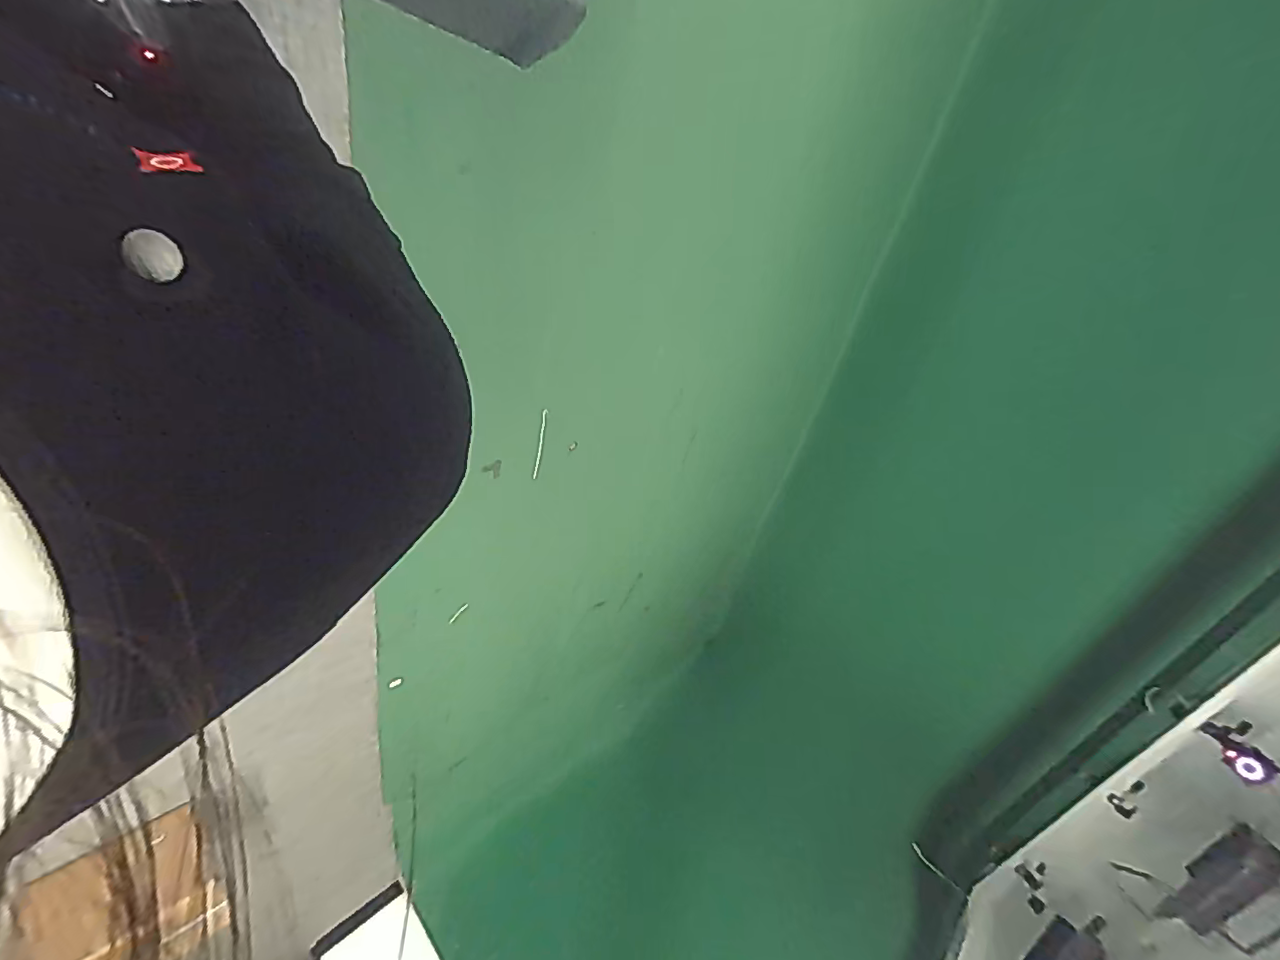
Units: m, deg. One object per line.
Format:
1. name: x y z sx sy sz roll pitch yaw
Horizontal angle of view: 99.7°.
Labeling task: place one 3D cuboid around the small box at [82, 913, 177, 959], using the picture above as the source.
1. small box: -1.447 1.401 1.542 0.179 0.176 0.168 -13 129 -46
